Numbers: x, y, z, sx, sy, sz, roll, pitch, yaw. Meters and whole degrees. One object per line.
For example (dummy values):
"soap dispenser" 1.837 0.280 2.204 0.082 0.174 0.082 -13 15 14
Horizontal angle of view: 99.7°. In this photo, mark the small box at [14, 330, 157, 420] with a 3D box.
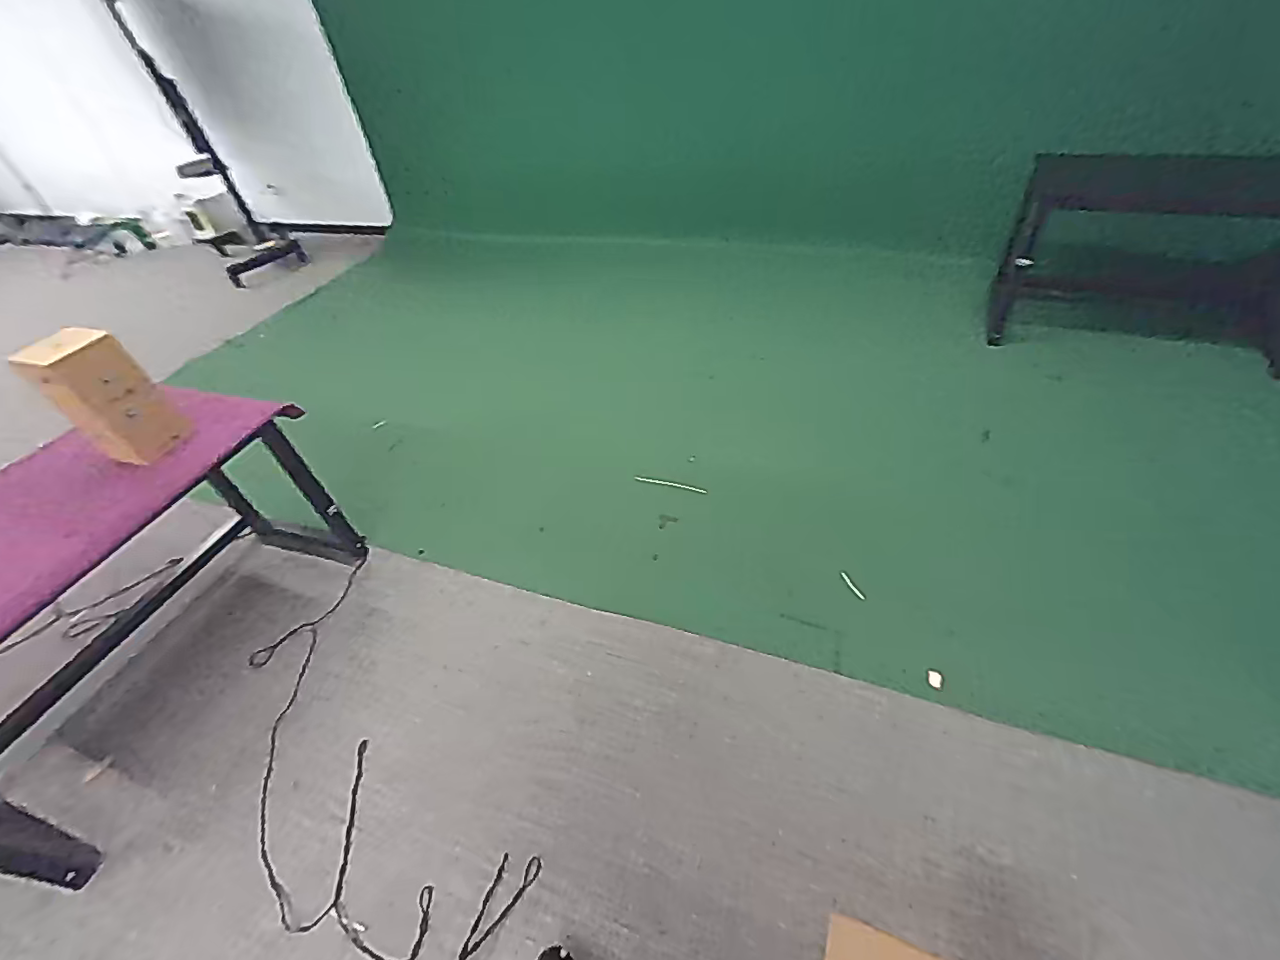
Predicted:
"small box" -1.460 -0.278 1.438 0.179 0.176 0.168 10 46 19

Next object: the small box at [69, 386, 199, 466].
"small box" -1.441 -0.159 1.552 0.179 0.176 0.168 8 47 18
